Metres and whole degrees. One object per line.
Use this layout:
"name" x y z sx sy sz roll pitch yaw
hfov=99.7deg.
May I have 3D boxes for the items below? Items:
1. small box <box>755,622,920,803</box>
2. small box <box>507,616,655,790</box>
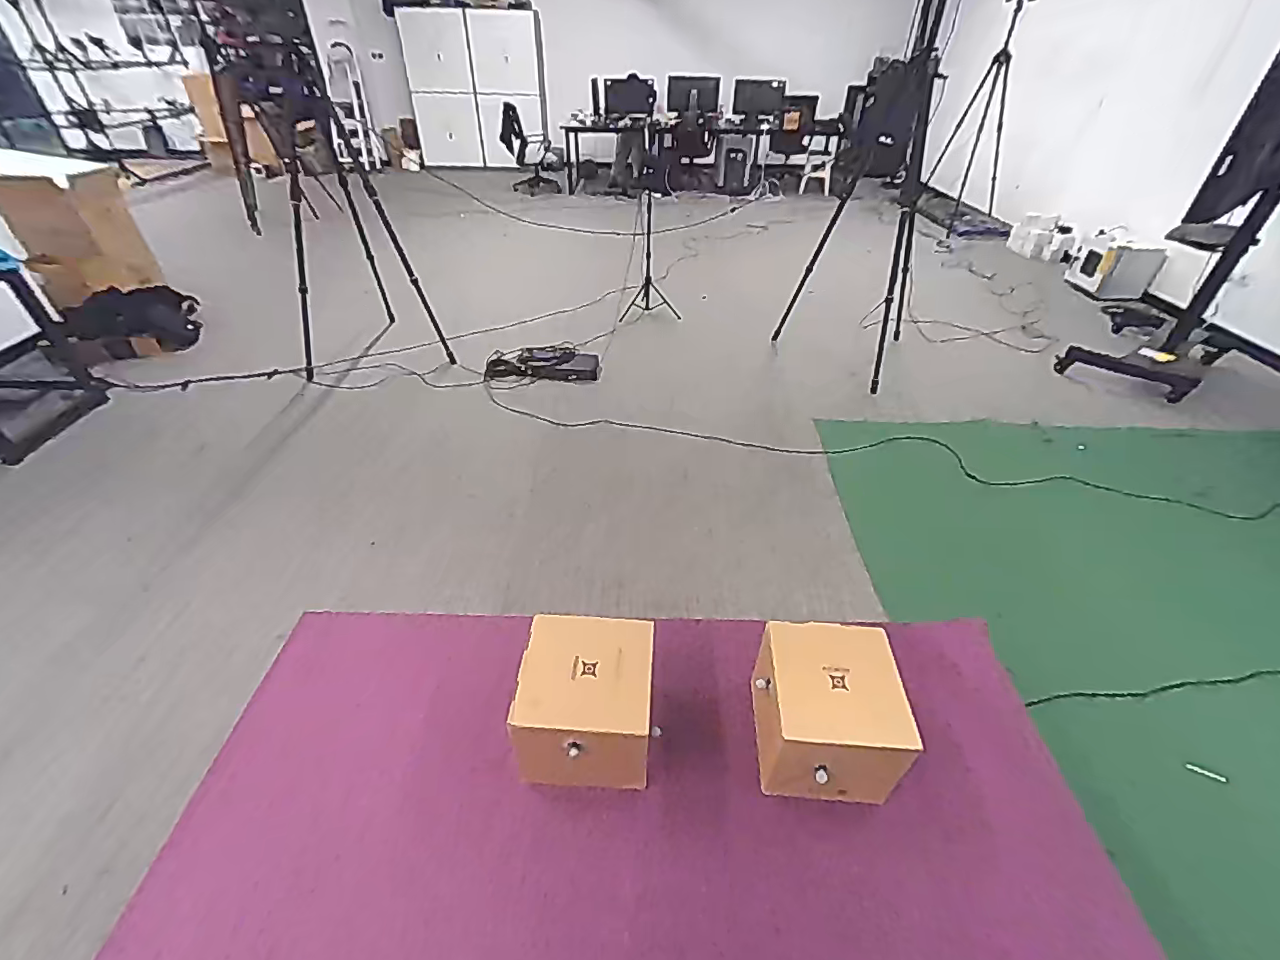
"small box" 0.257 0.323 0.752 0.168 0.176 0.179 2 38 4
"small box" -0.071 0.315 0.763 0.179 0.176 0.168 3 39 3
